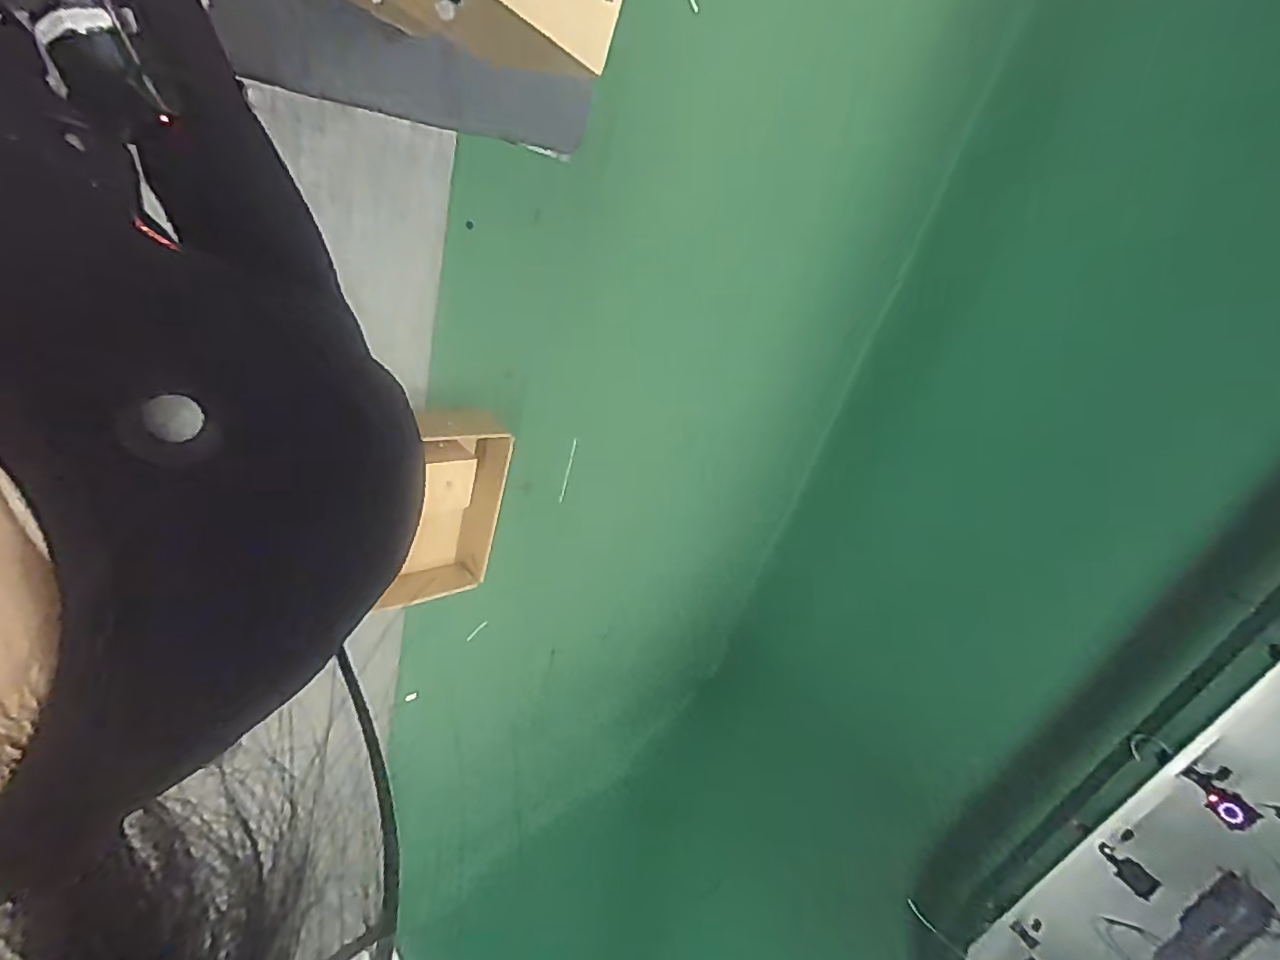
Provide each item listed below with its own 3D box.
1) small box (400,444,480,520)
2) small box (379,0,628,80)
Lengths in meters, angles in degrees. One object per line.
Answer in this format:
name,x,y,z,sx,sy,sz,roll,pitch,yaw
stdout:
small box,-0.615,-0.003,1.649,0.168,0.176,0.179,-8,126,-46
small box,-0.113,-0.426,0.392,0.179,0.176,0.168,-3,120,-49
